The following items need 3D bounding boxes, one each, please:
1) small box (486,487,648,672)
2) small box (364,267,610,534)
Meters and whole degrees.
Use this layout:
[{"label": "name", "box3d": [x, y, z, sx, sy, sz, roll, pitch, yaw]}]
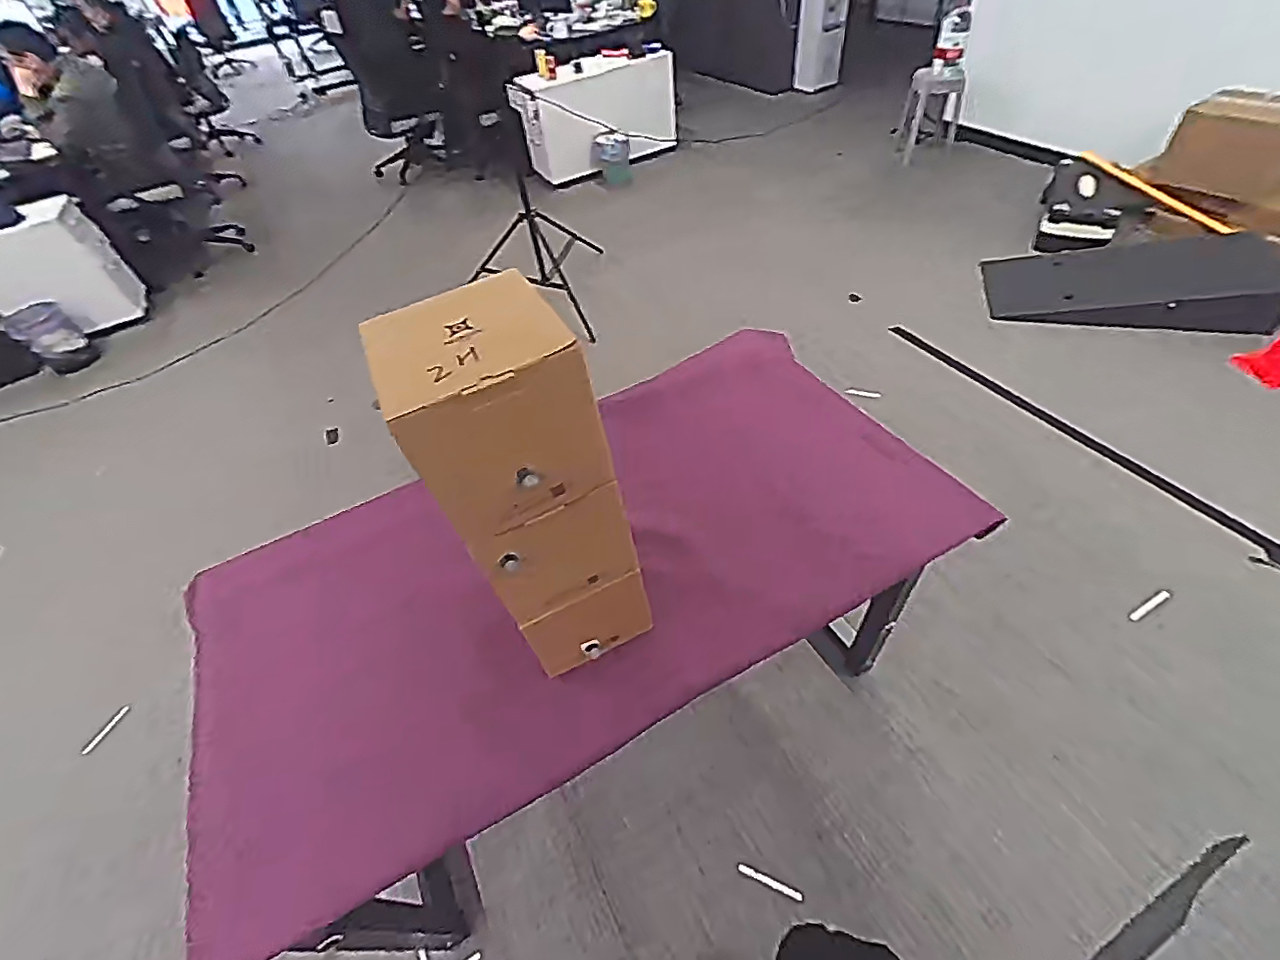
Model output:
[{"label": "small box", "box3d": [-0.102, 0.142, 0.781, 0.168, 0.176, 0.179, -25, 51, -12]}, {"label": "small box", "box3d": [-0.146, -0.079, 0.541, 0.168, 0.176, 0.179, -26, 49, -12]}]
